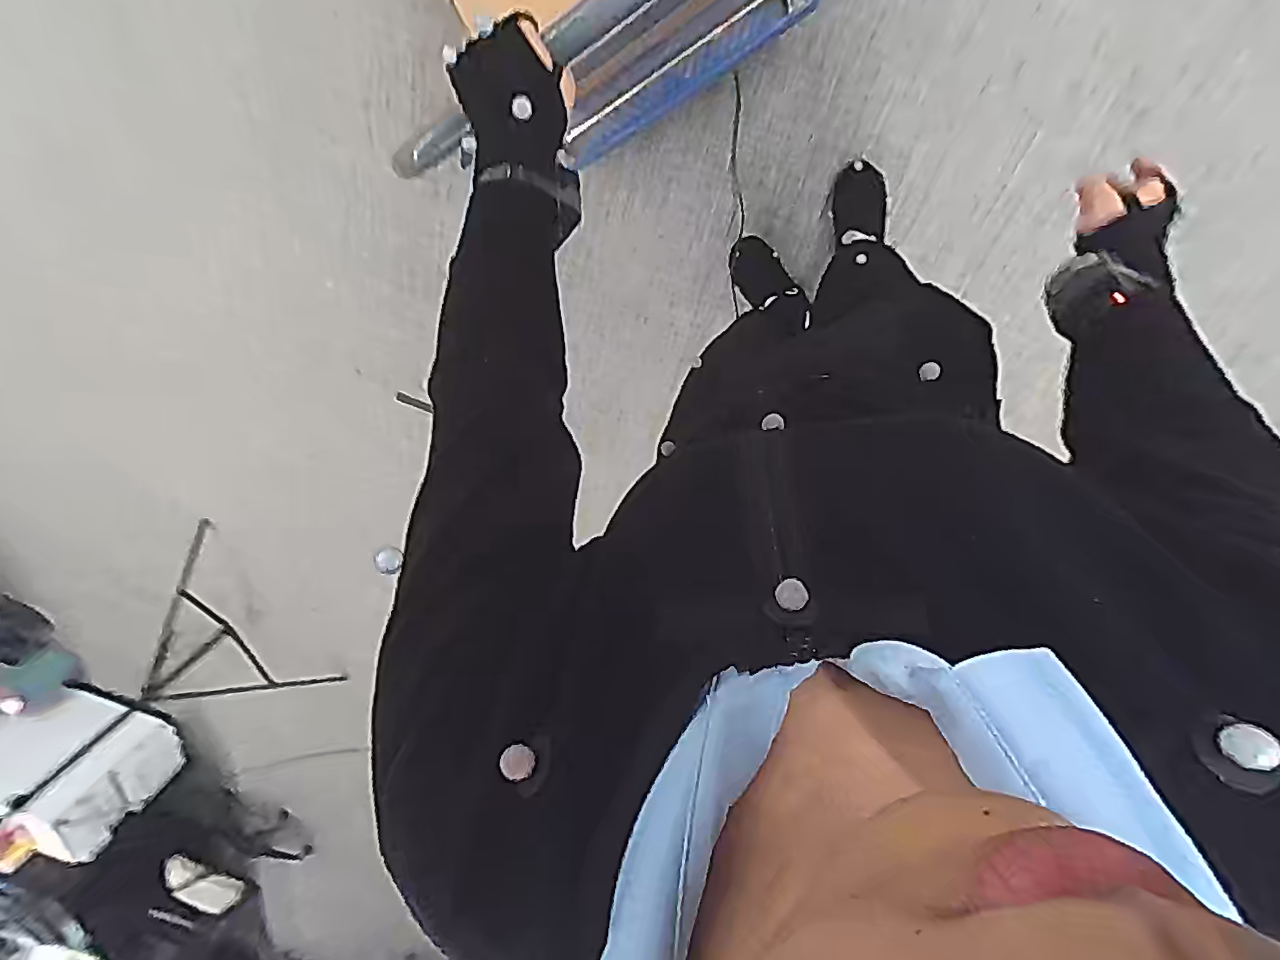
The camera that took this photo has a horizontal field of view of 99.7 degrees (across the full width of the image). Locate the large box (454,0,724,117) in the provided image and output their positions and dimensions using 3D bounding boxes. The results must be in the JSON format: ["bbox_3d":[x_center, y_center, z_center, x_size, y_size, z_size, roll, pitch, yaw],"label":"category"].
[{"bbox_3d":[-0.076,-0.829,0.809,0.408,0.320,0.320,-22,114,22],"label":"large box"}]
